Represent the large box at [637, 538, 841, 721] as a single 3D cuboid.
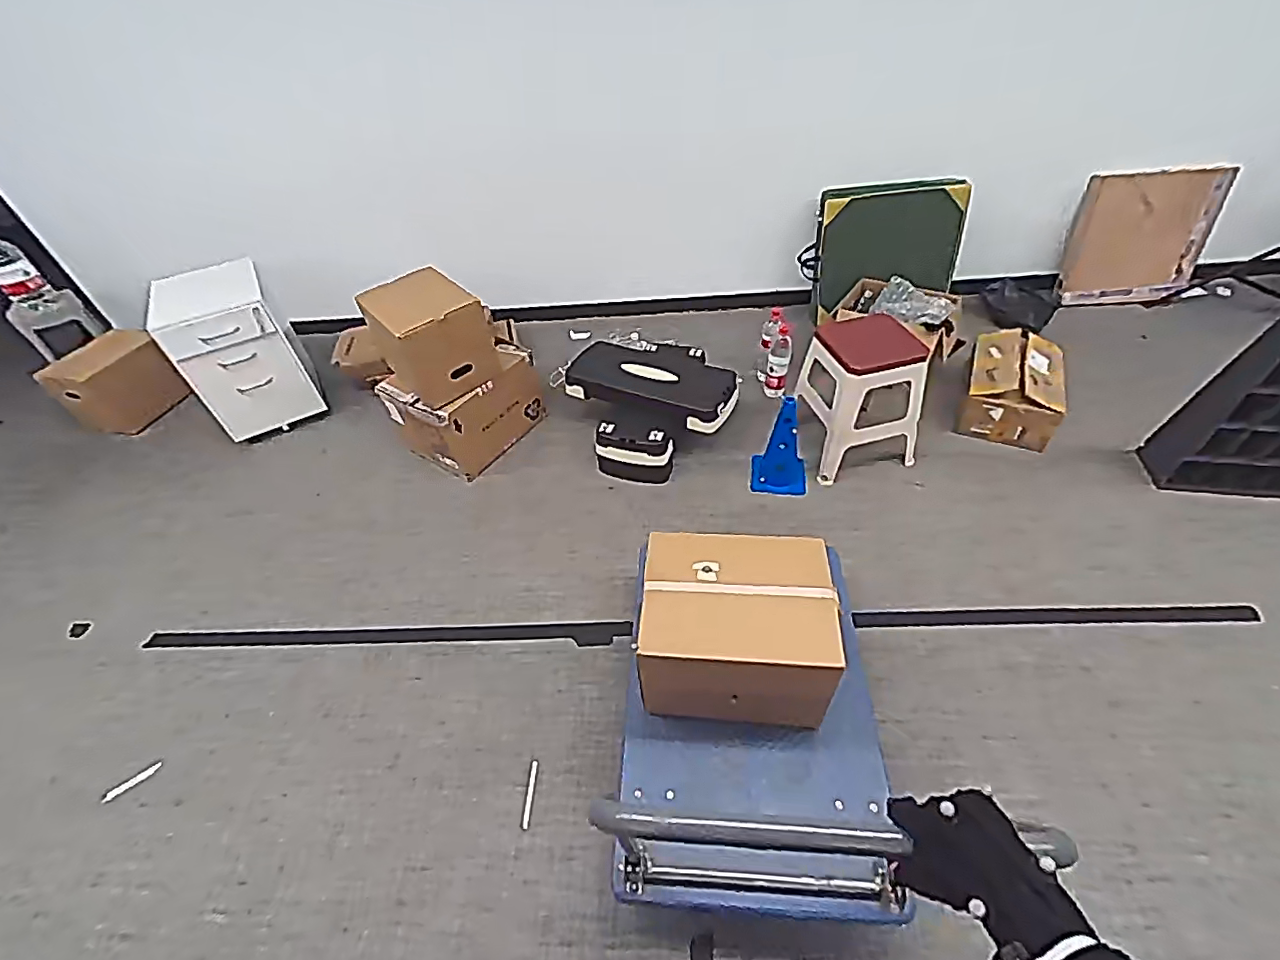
[{"bbox_3d":[0.217,0.350,1.267,0.408,0.320,0.320,0,46,8],"label":"large box"}]
